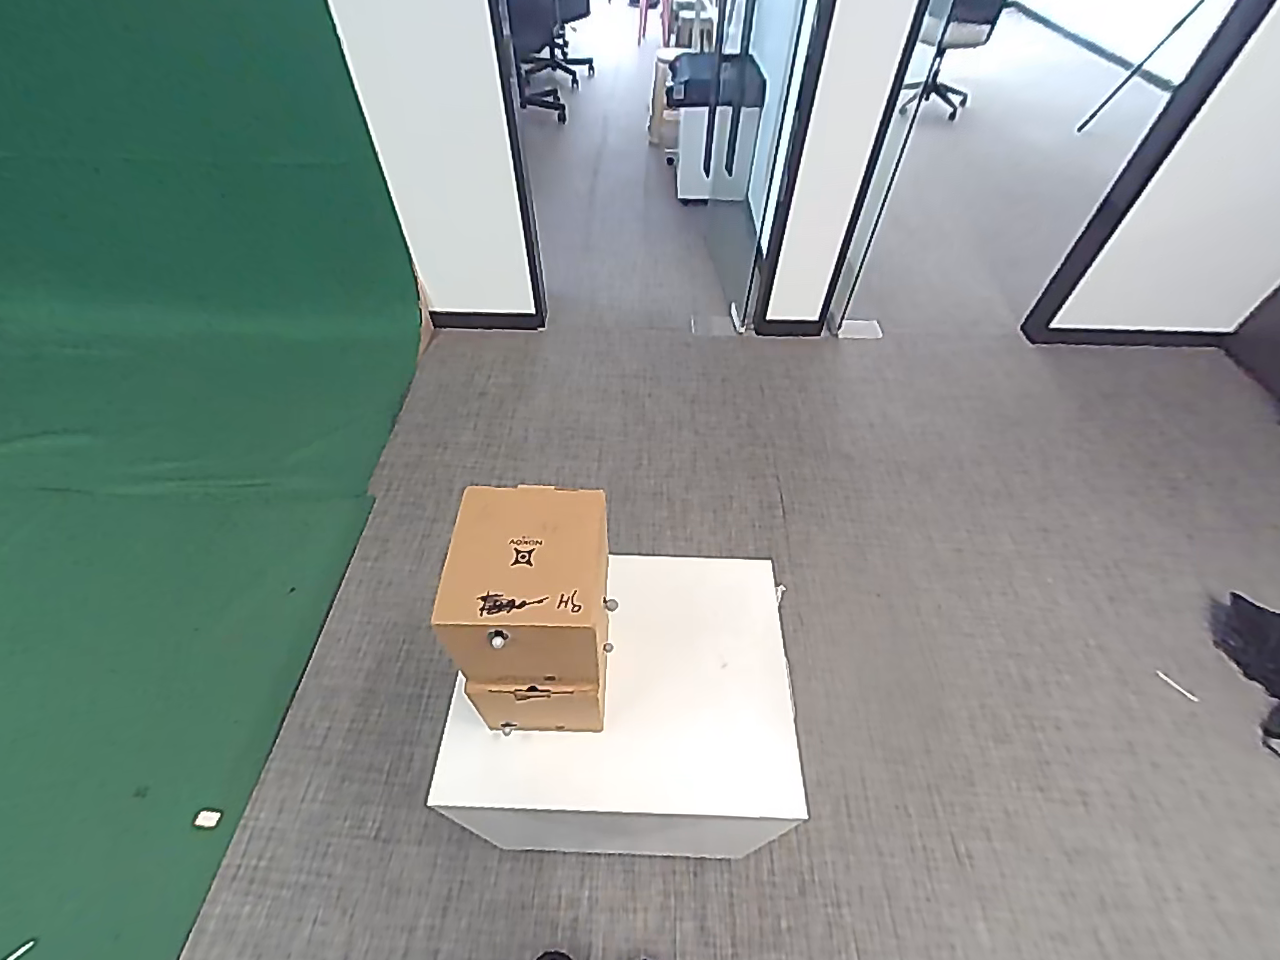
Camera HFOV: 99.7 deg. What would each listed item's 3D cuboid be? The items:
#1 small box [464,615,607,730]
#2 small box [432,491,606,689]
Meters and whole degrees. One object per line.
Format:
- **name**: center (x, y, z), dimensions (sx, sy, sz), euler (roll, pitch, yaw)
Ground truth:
- **small box**: center (-0.135, 0.246, 0.774), dimensions (0.168, 0.176, 0.179), euler (1, 49, -1)
- **small box**: center (-0.128, 0.134, 0.656), dimensions (0.168, 0.176, 0.179), euler (1, 49, 0)
